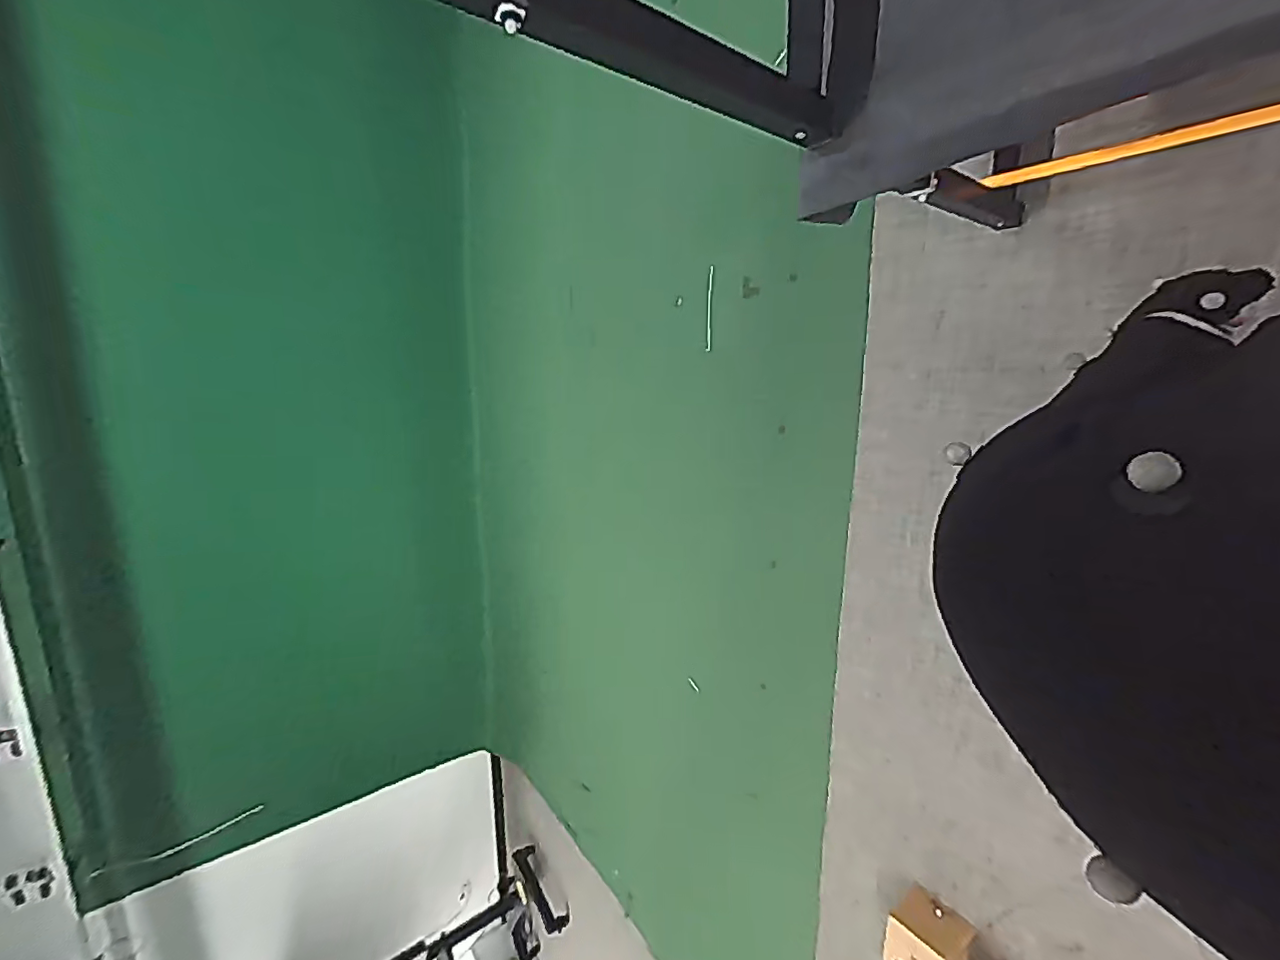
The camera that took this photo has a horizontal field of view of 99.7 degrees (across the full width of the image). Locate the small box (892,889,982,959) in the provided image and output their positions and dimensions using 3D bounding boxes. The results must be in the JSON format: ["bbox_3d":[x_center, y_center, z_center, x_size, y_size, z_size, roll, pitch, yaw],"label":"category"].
[{"bbox_3d":[0.855,1.347,1.555,0.168,0.176,0.179,15,107,52],"label":"small box"}]
